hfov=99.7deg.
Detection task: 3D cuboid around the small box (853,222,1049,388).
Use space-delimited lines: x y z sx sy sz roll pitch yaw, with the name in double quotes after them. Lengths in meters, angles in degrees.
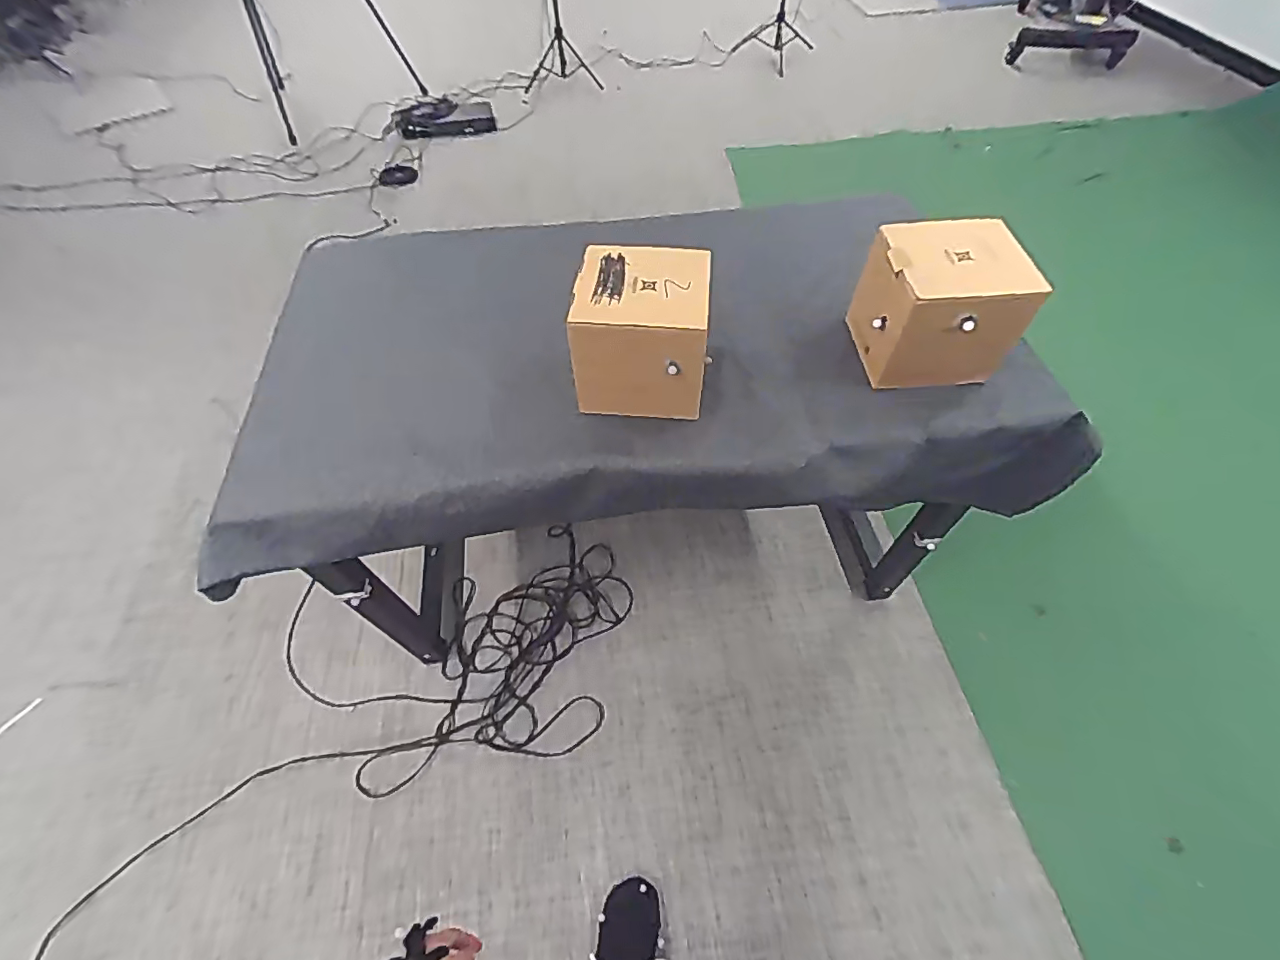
0.428 -0.249 0.788 0.179 0.176 0.168 -3 57 -1 "small box"
